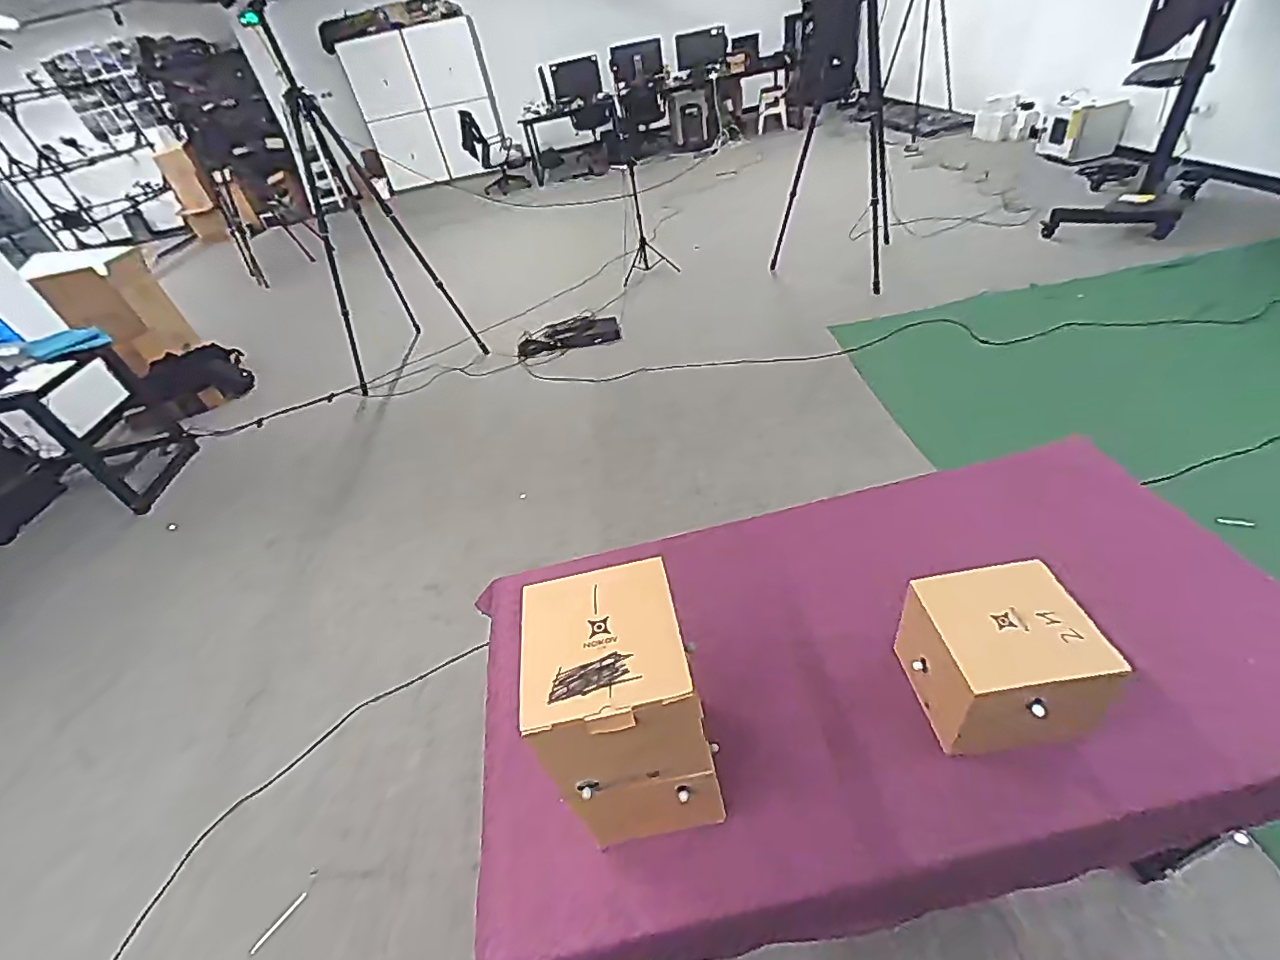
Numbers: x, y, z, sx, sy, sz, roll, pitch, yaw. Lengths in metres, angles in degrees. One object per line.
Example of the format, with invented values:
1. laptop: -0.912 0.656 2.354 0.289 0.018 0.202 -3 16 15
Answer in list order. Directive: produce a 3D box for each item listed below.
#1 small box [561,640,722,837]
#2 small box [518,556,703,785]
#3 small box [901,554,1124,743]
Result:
1. small box: 0.001 0.344 0.716 0.179 0.176 0.168 -13 40 1
2. small box: -0.031 0.220 0.613 0.168 0.176 0.179 -13 39 0
3. small box: 0.464 0.226 0.714 0.179 0.176 0.168 -10 41 4
